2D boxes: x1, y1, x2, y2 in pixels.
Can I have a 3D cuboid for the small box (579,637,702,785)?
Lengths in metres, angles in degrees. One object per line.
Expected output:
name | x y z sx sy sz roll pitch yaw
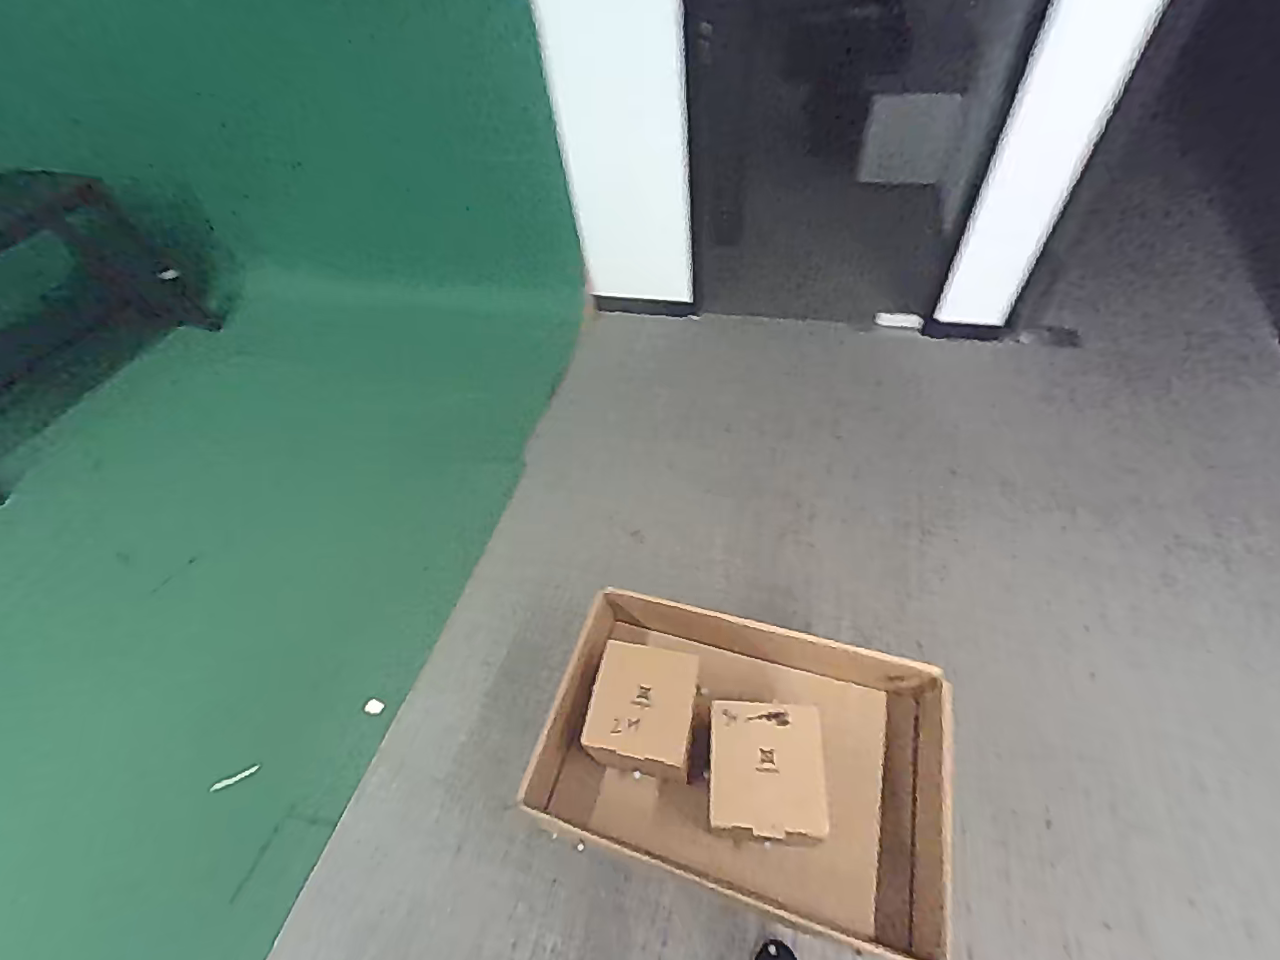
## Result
small box | 0.011 0.401 0.936 0.168 0.176 0.179 7 53 14

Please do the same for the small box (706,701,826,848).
small box | 0.194 0.469 0.857 0.168 0.176 0.179 1 53 9
